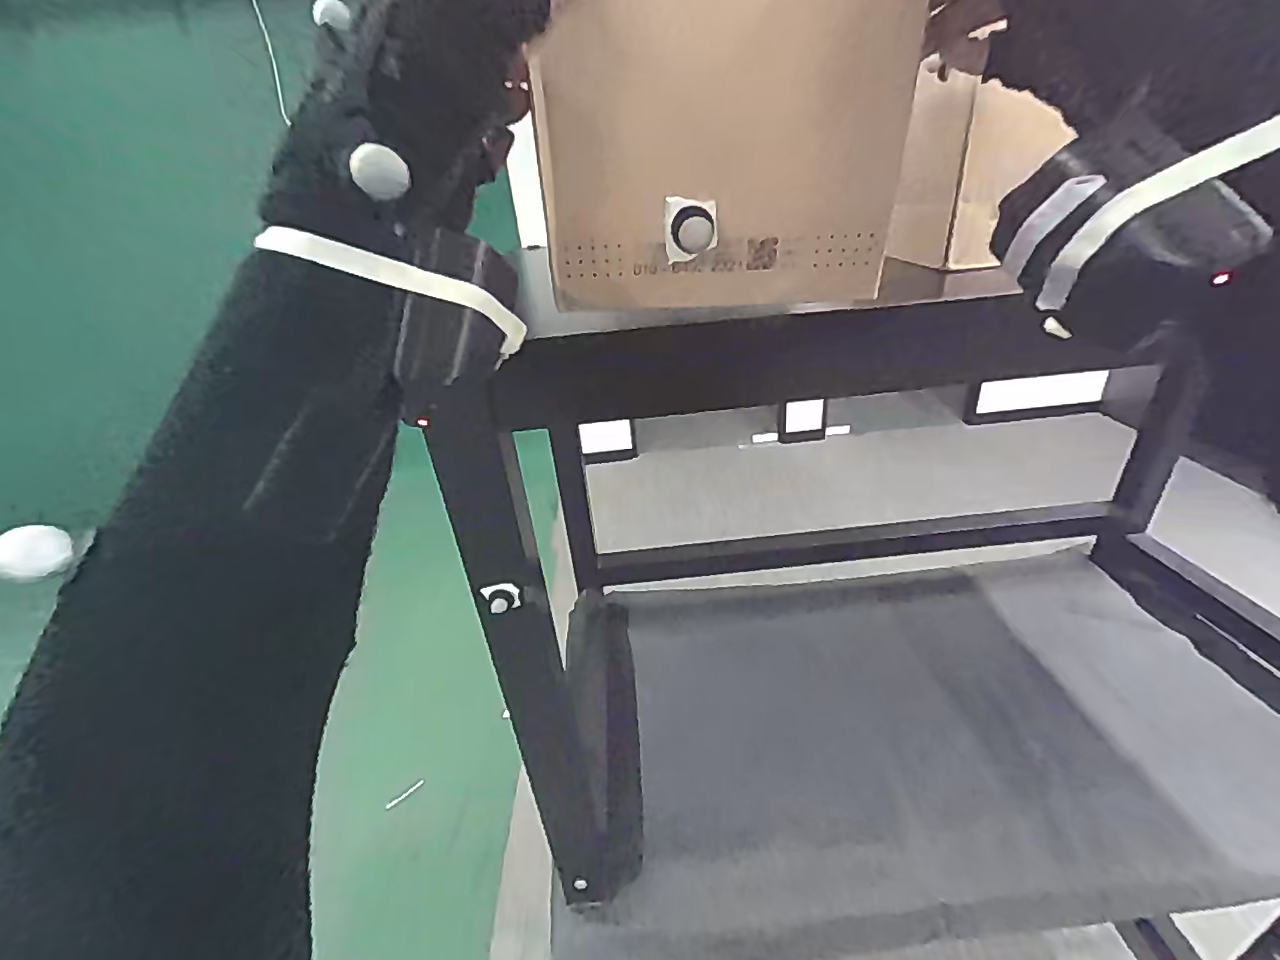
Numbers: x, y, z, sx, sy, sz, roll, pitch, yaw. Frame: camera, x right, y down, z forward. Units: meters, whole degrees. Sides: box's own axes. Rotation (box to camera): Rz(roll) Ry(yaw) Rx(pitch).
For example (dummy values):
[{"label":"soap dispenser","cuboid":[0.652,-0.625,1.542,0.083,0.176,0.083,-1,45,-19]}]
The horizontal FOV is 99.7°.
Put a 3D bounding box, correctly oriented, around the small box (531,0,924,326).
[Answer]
[{"label":"small box","cuboid":[0.034,-0.197,0.317,0.168,0.176,0.179,-4,33,0]}]
